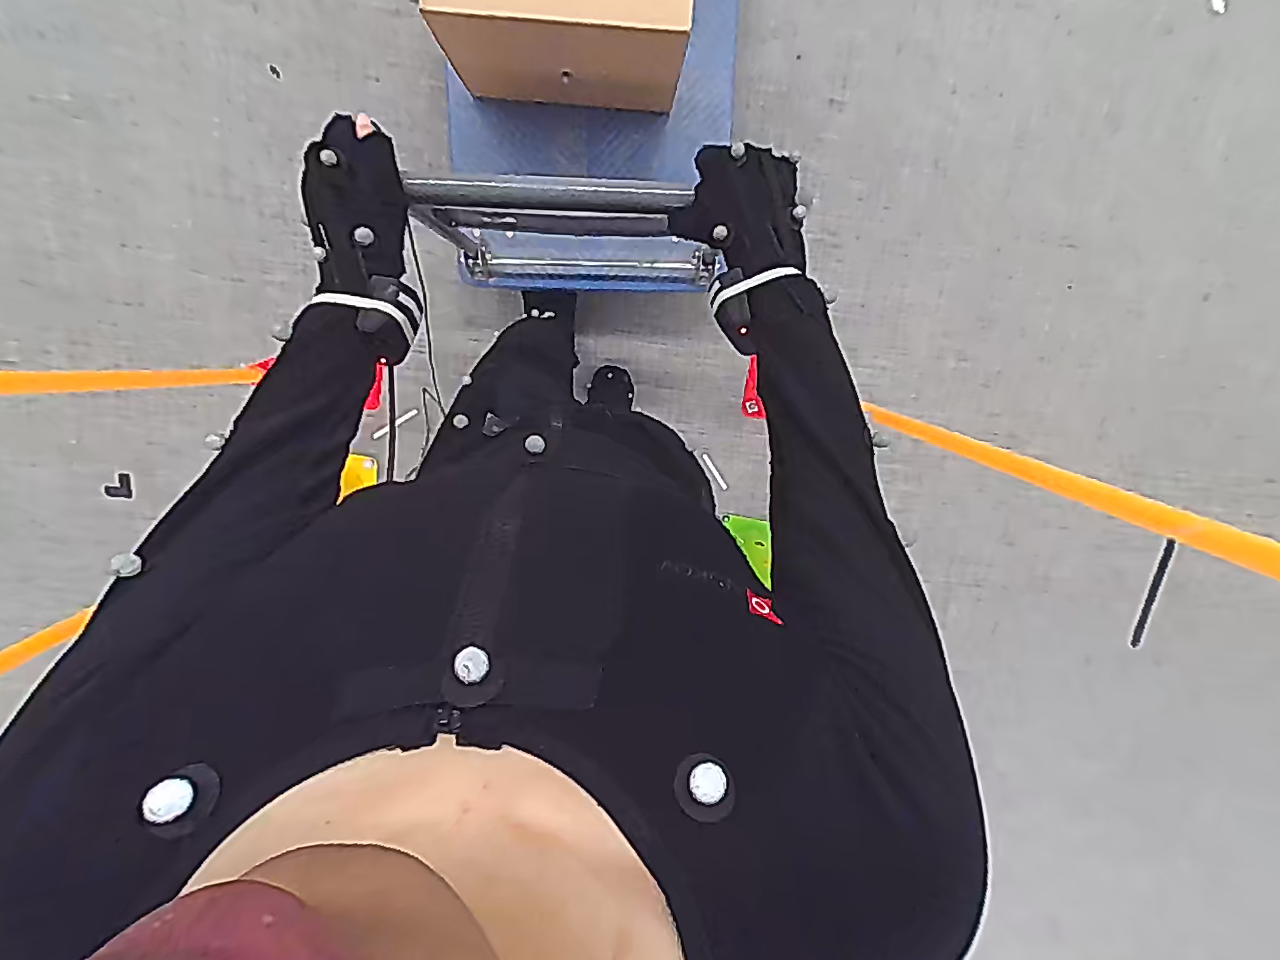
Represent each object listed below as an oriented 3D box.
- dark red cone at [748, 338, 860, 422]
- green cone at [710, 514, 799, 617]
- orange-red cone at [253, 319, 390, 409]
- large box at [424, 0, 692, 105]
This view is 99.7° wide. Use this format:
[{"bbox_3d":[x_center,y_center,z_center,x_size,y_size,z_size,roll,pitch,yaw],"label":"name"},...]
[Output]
[{"bbox_3d":[0.397,-0.214,1.238,0.201,0.394,0.202,5,105,-6],"label":"dark red cone"},{"bbox_3d":[0.320,0.245,1.375,0.202,0.368,0.200,9,104,-6],"label":"green cone"},{"bbox_3d":[-0.736,-0.251,1.207,0.198,0.360,0.199,13,103,-6],"label":"orange-red cone"},{"bbox_3d":[-0.121,-0.871,0.913,0.408,0.320,0.320,2,105,-2],"label":"large box"}]
